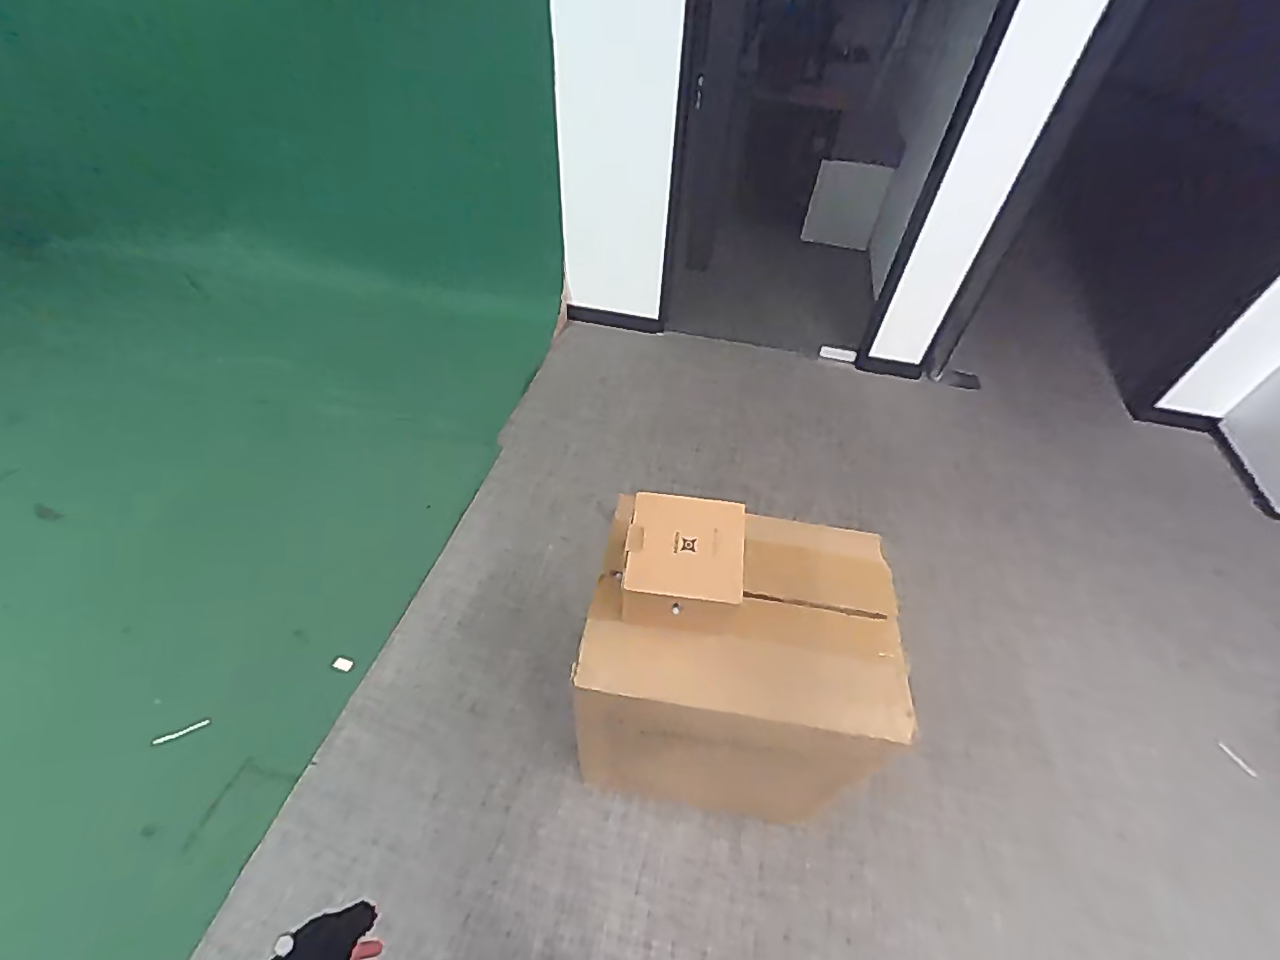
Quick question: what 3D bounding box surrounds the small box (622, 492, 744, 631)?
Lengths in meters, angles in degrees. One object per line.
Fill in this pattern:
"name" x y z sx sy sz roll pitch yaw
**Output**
"small box" 0.066 0.138 0.885 0.179 0.176 0.168 7 60 1
